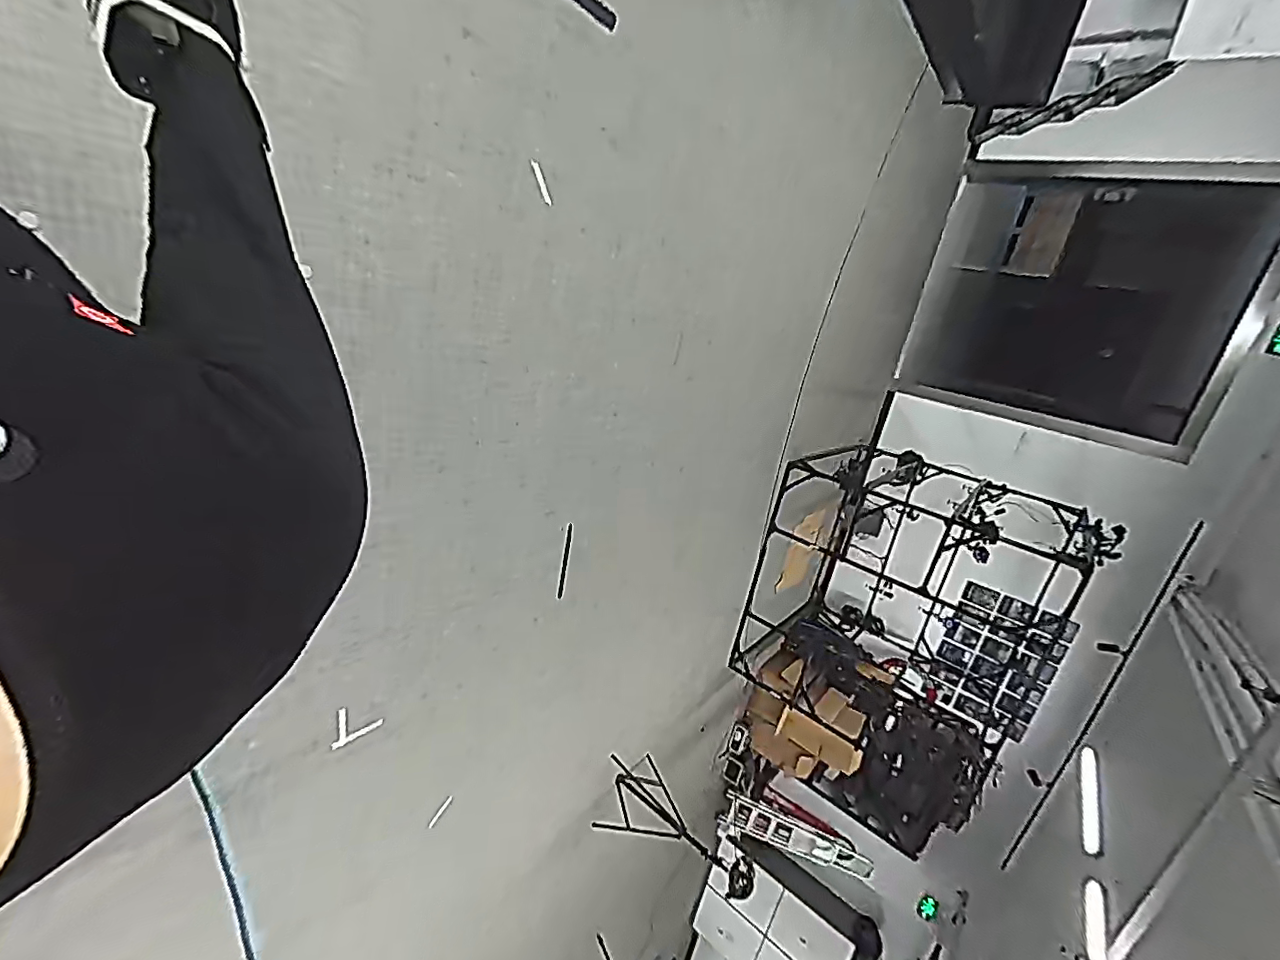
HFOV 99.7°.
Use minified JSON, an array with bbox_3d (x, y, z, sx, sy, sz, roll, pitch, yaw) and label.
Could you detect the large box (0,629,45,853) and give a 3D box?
[{"bbox_3d":[-1.341,0.508,0.914,0.408,0.320,0.320,-11,119,-51],"label":"large box"}]
